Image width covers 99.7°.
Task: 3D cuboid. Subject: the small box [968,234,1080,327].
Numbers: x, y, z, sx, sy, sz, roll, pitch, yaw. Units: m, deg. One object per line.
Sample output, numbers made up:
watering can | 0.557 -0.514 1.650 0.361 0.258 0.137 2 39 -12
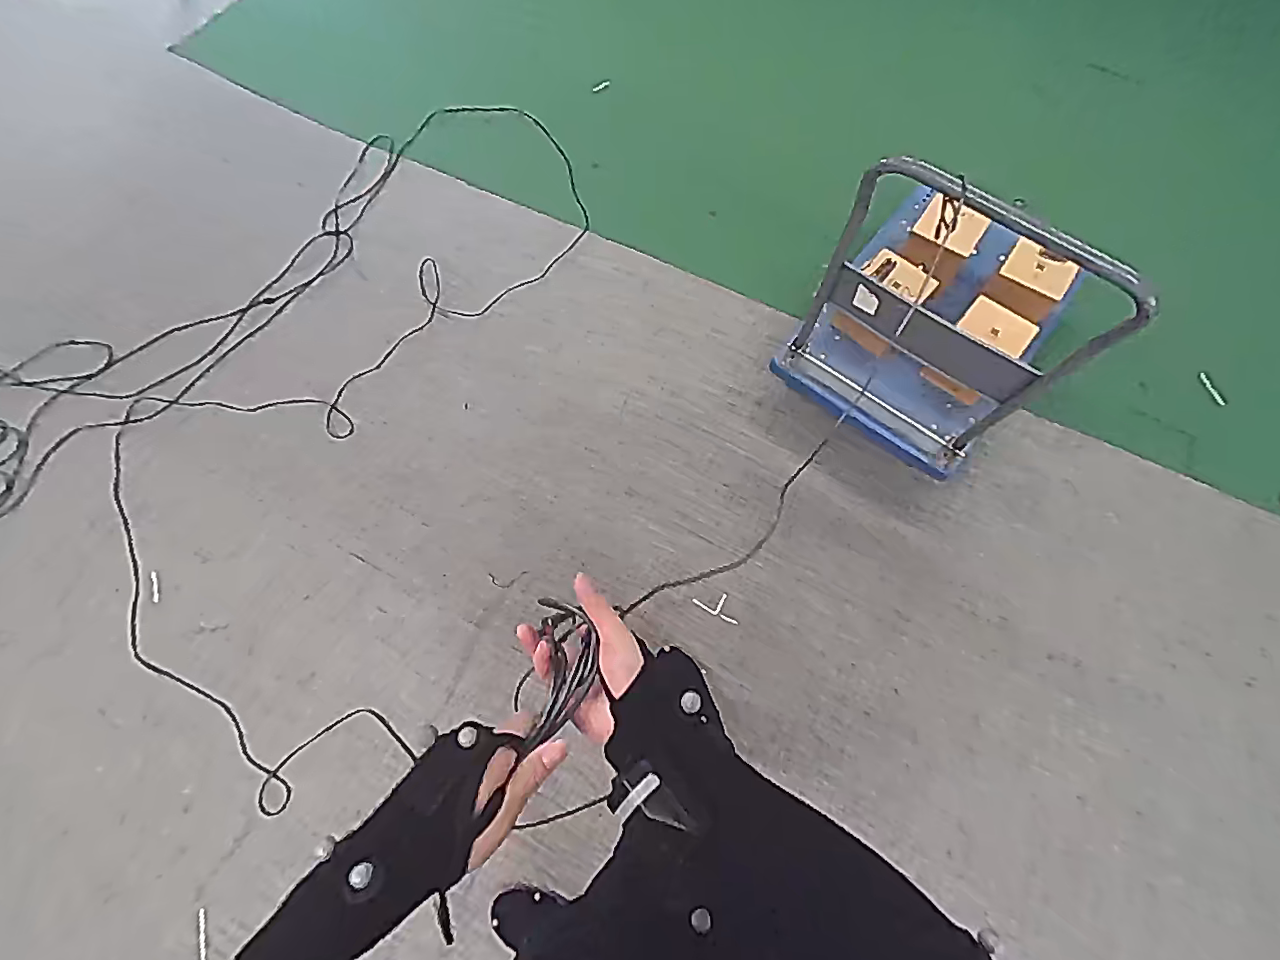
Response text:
small box | 1.057 -0.532 1.503 0.168 0.176 0.179 33 75 14

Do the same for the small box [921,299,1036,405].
small box | 0.886 -0.335 1.434 0.168 0.176 0.179 38 75 14

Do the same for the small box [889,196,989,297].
small box | 0.851 -0.666 1.559 0.168 0.176 0.179 34 74 12
